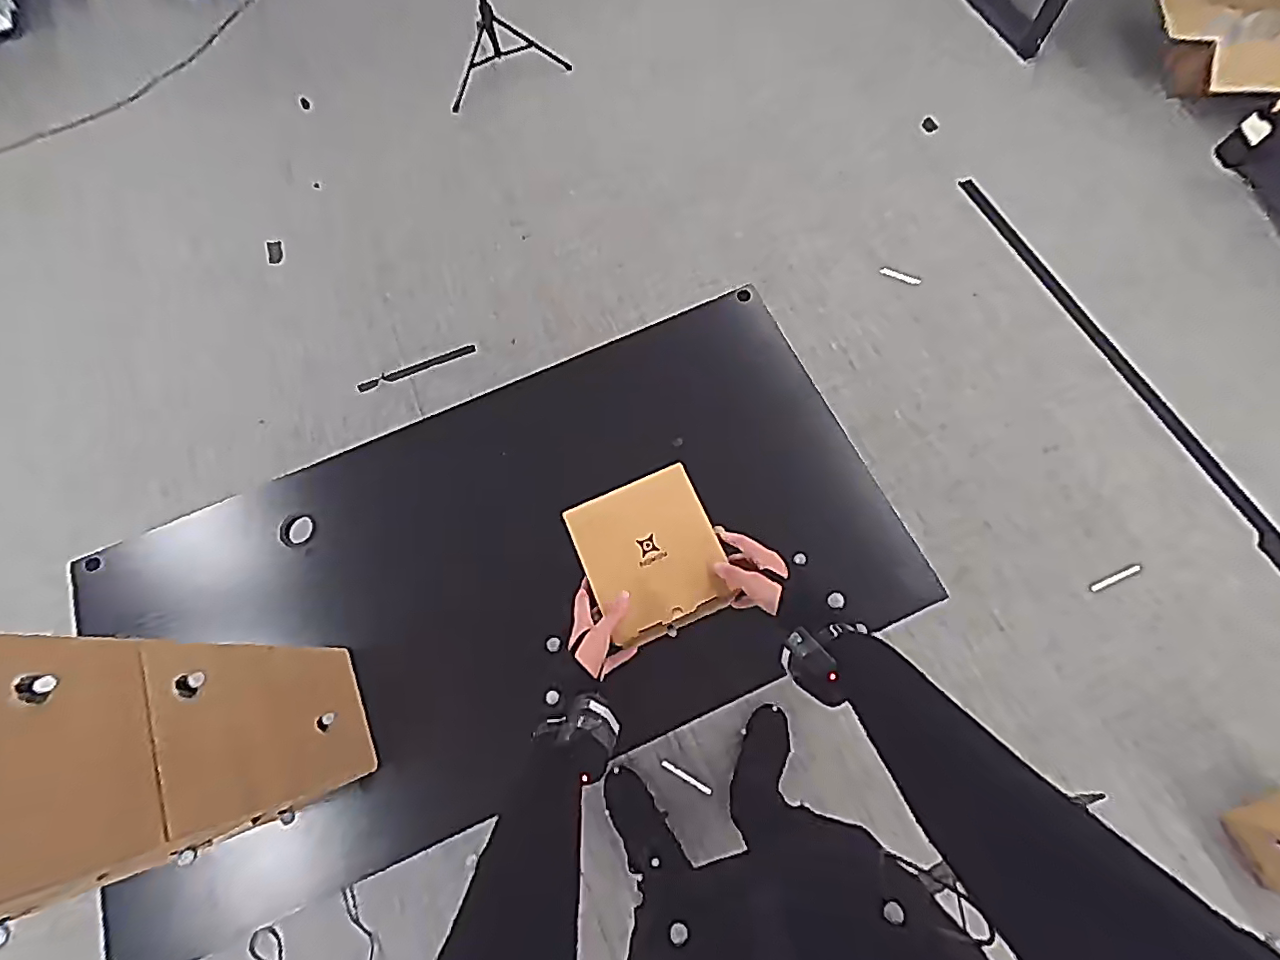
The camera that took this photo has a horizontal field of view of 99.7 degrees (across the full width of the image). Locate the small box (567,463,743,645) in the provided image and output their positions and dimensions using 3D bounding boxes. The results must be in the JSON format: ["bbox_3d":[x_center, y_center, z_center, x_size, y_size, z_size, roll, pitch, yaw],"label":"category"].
[{"bbox_3d":[0.018,0.107,0.724,0.168,0.176,0.179,-23,72,-4],"label":"small box"}]

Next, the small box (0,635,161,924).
[{"bbox_3d":[-0.485,0.218,0.368,0.168,0.176,0.179,-25,72,-4],"label":"small box"}]

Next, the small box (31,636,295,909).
[{"bbox_3d":[-0.477,0.271,0.522,0.168,0.176,0.179,-25,72,-5],"label":"small box"}]

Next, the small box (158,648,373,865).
[{"bbox_3d":[-0.468,0.325,0.677,0.168,0.176,0.179,-25,72,-6],"label":"small box"}]
